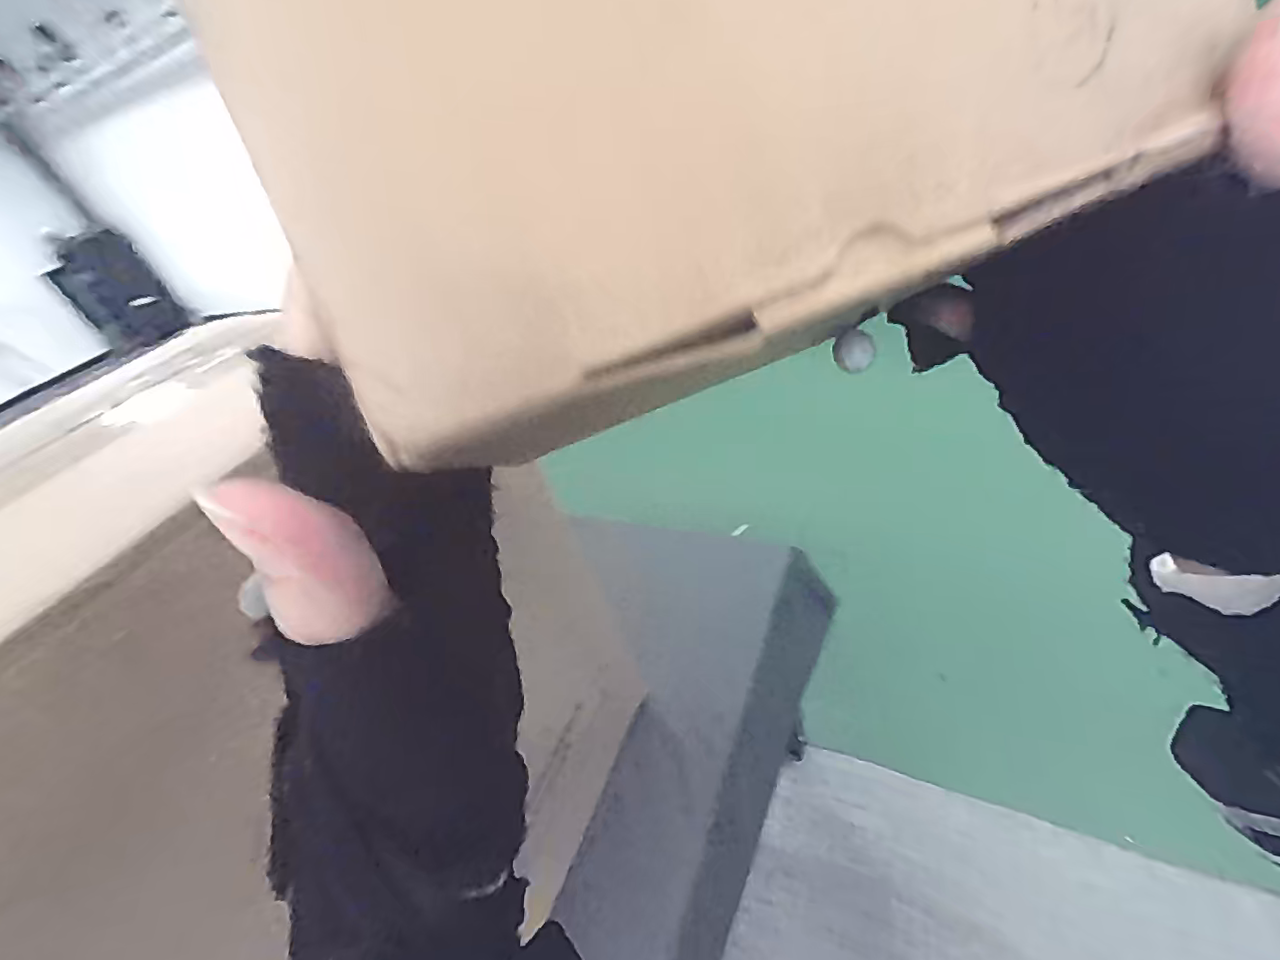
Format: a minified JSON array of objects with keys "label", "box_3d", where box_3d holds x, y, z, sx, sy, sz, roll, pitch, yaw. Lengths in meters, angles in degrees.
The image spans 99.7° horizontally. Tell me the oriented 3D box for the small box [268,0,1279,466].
[{"label":"small box","box_3d":[0.006,-0.114,0.167,0.168,0.179,0.176,-22,4,-7]}]
